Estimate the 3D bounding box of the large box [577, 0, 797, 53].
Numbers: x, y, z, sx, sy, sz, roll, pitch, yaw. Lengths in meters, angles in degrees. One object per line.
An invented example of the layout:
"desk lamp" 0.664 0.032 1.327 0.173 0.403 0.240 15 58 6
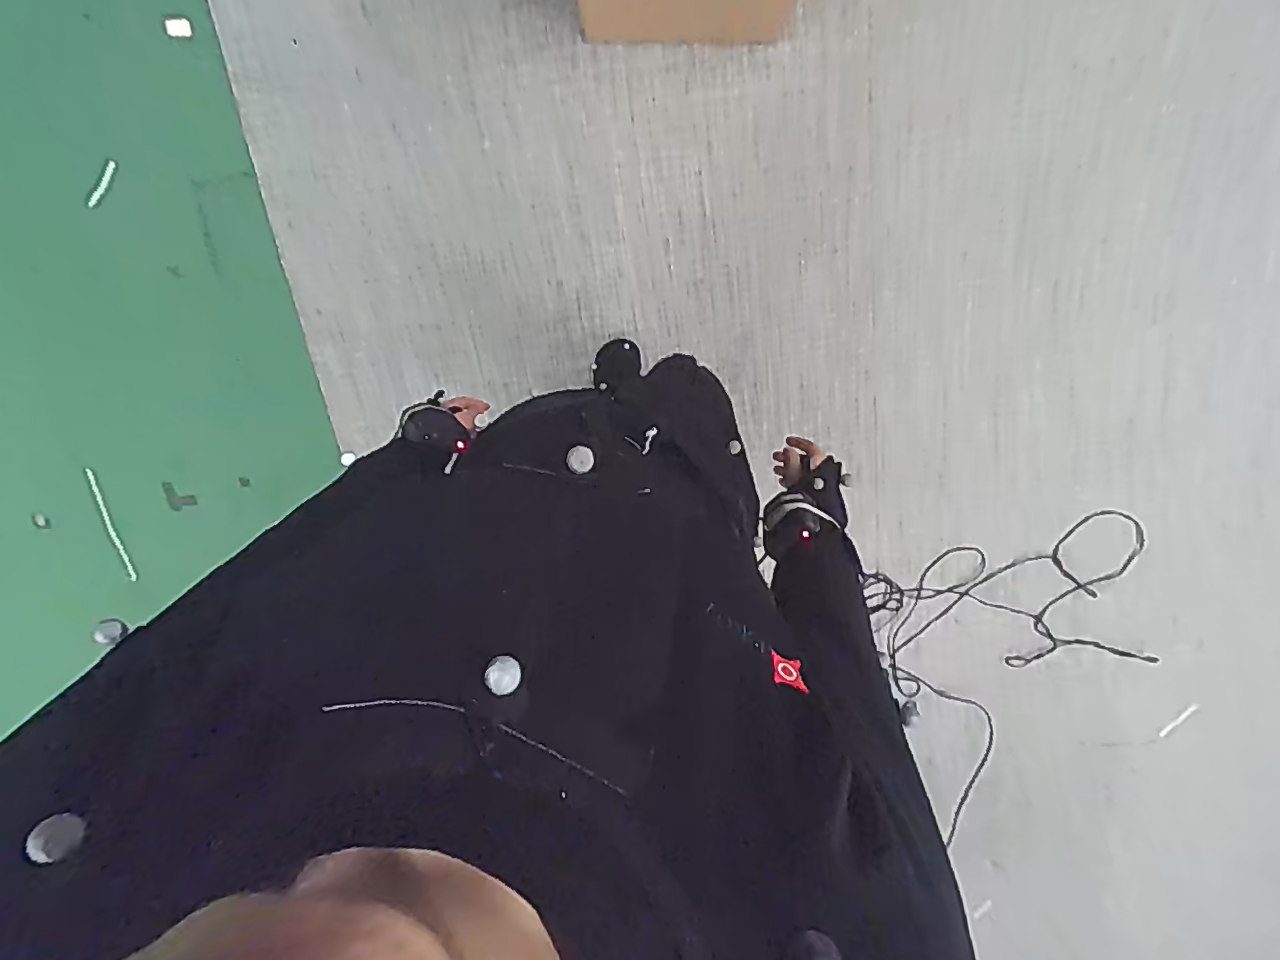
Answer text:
"large box" 0.079 -0.995 0.935 0.408 0.320 0.320 -2 107 -1
